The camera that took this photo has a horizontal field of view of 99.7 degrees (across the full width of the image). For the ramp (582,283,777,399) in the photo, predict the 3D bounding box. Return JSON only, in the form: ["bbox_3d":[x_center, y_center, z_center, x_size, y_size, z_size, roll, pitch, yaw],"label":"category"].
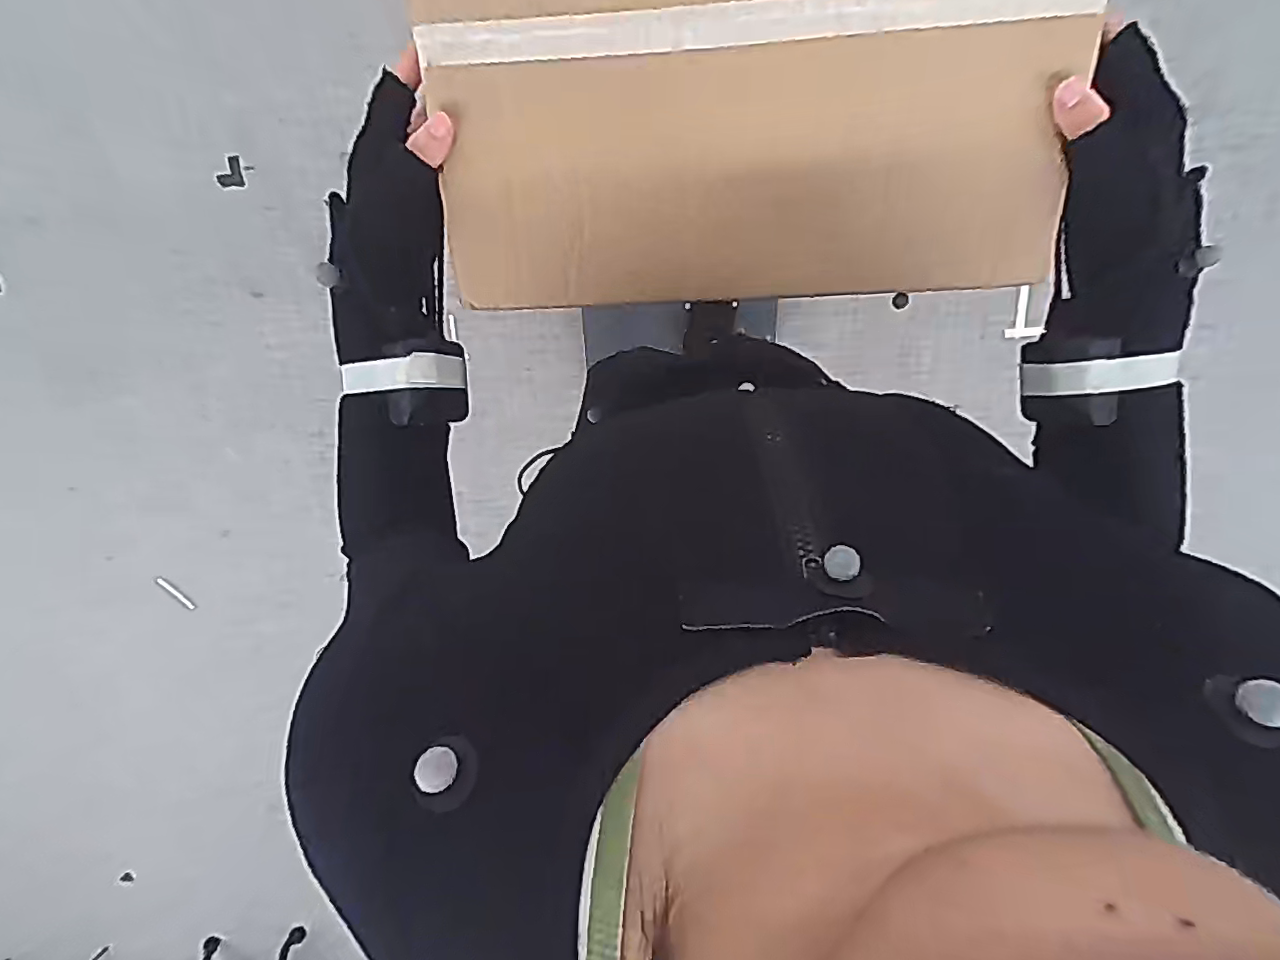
[{"bbox_3d":[0.088,-0.670,1.245,0.509,0.206,0.991,-3,108,3],"label":"ramp"}]

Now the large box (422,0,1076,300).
[{"bbox_3d":[0.071,-0.342,0.468,0.408,0.320,0.320,-2,112,4],"label":"large box"}]
